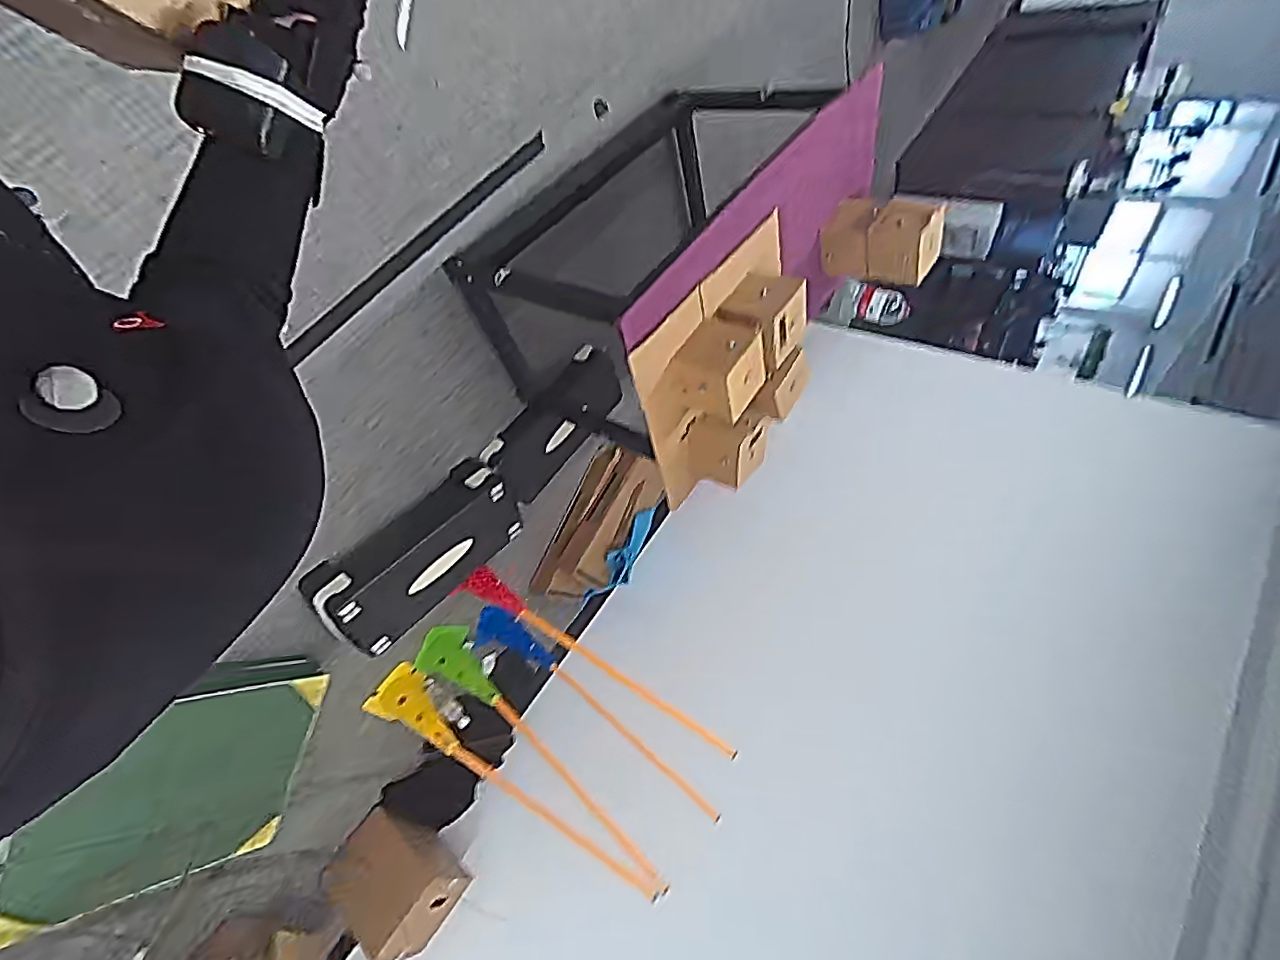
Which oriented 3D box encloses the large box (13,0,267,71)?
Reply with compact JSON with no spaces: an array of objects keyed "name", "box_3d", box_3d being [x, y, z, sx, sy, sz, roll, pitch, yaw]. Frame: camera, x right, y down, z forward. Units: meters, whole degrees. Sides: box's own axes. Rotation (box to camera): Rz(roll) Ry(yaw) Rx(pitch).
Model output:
[{"name":"large box","box_3d":[-0.445,-0.499,0.269,0.408,0.320,0.320,6,111,-57]}]
